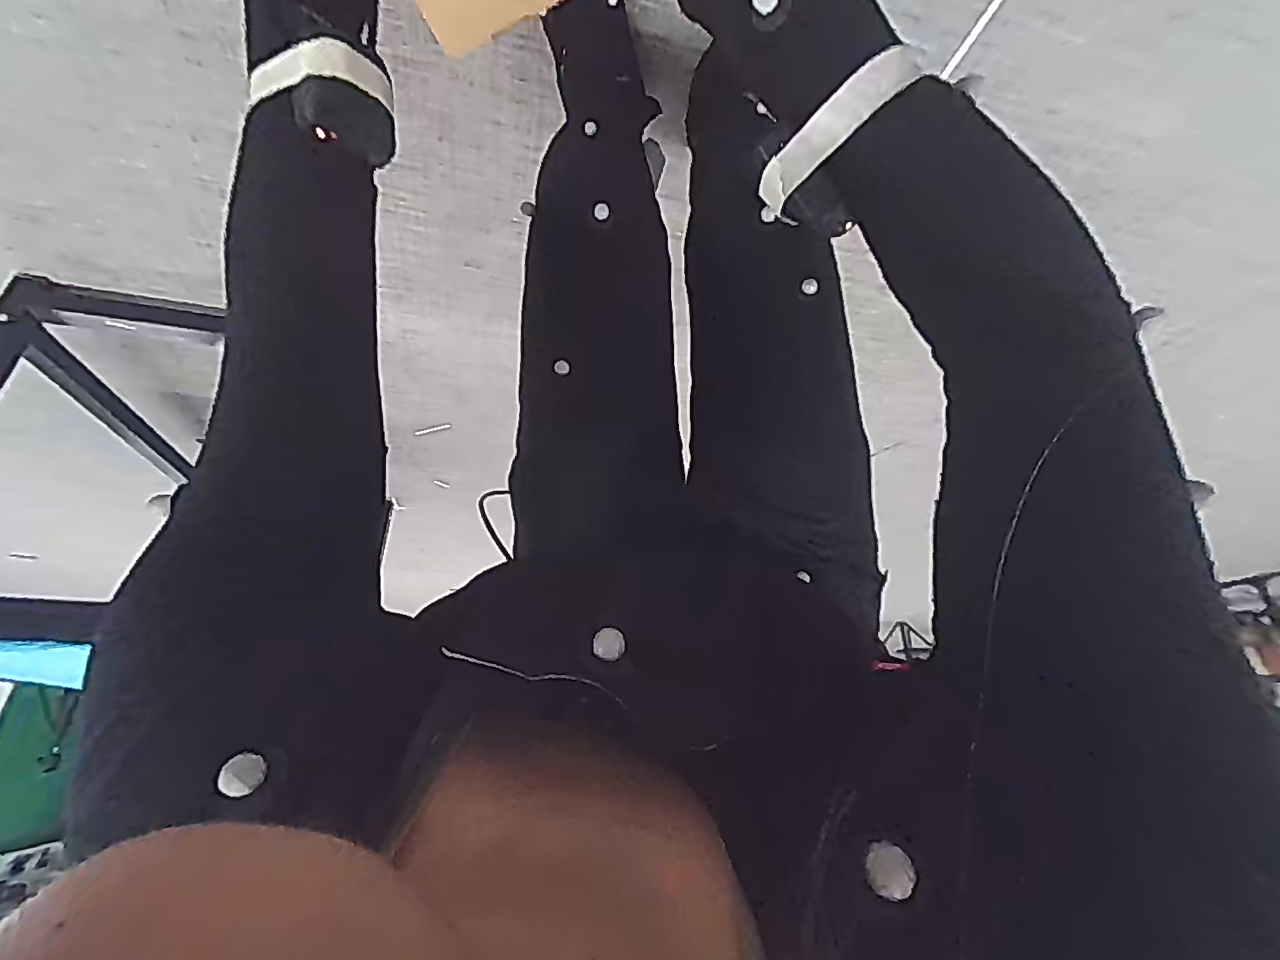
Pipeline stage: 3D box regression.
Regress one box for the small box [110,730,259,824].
[{"bbox_3d":[-0.982,0.645,1.189,0.168,0.176,0.179,5,154,-8],"label":"small box"}]
